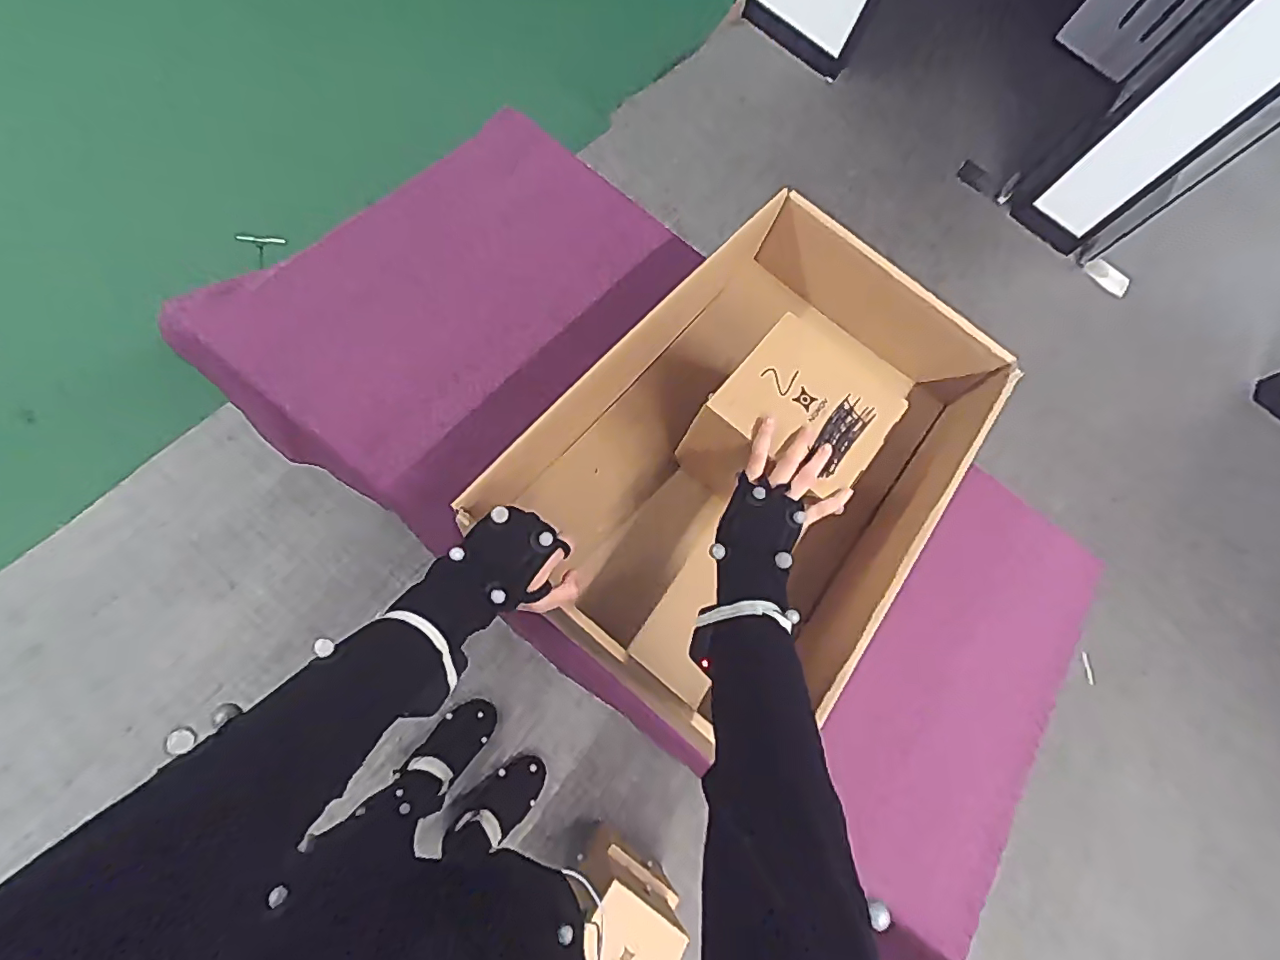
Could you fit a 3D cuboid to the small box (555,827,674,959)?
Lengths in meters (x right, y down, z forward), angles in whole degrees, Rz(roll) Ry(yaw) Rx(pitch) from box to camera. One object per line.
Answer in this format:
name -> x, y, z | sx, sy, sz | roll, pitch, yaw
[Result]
small box -> -0.060, 0.871, 1.134 | 0.179, 0.176, 0.168 | 38, 68, 4
